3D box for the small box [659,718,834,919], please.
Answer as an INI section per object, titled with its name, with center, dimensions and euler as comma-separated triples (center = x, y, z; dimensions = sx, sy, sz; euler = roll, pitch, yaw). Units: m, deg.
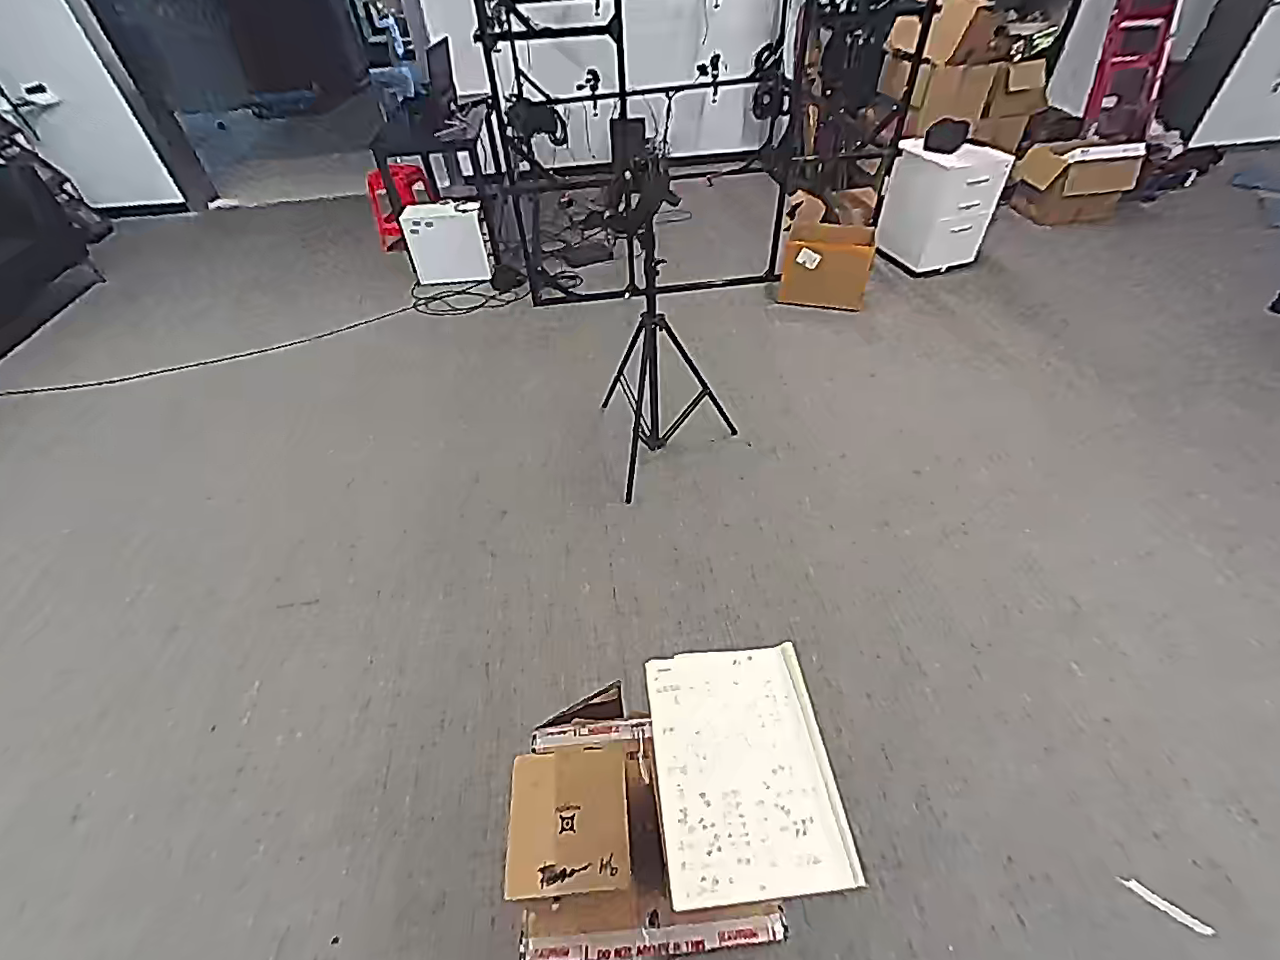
[small box]
center = 0.116, 0.423, 0.678
dimensions = 0.168, 0.176, 0.179
euler = -4, 47, -4
